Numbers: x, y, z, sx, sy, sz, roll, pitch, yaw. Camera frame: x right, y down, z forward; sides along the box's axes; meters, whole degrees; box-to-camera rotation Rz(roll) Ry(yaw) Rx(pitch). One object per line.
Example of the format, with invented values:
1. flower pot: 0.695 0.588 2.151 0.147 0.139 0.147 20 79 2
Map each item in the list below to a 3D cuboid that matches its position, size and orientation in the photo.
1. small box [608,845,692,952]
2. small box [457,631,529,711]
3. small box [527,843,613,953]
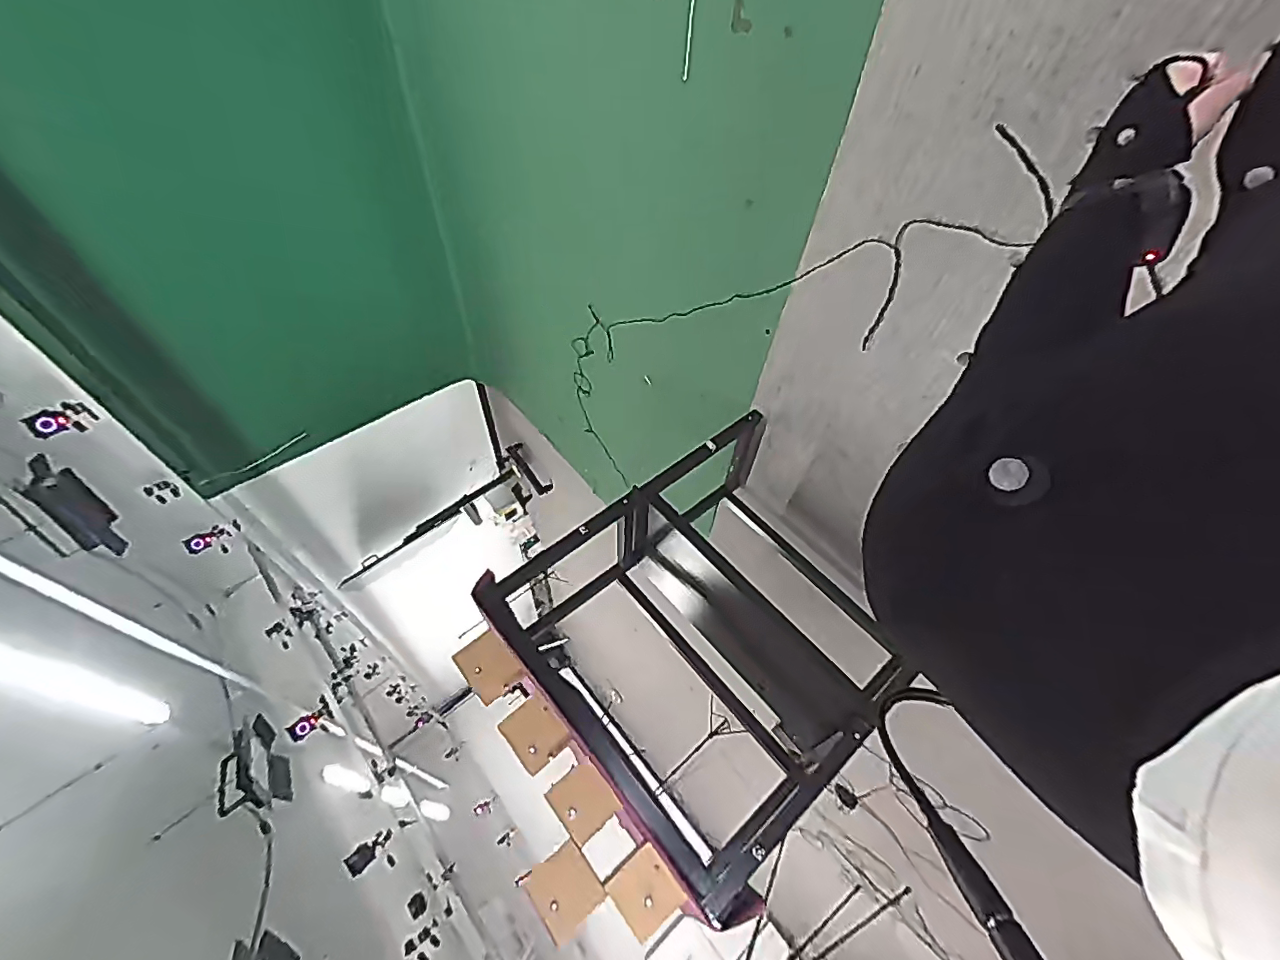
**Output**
1. small box: 0.026 1.161 1.516 0.168 0.176 0.179 46 155 22
2. small box: -0.494 0.654 1.853 0.179 0.176 0.168 46 153 21
3. small box: -0.188 1.154 1.504 0.179 0.176 0.168 45 154 27
